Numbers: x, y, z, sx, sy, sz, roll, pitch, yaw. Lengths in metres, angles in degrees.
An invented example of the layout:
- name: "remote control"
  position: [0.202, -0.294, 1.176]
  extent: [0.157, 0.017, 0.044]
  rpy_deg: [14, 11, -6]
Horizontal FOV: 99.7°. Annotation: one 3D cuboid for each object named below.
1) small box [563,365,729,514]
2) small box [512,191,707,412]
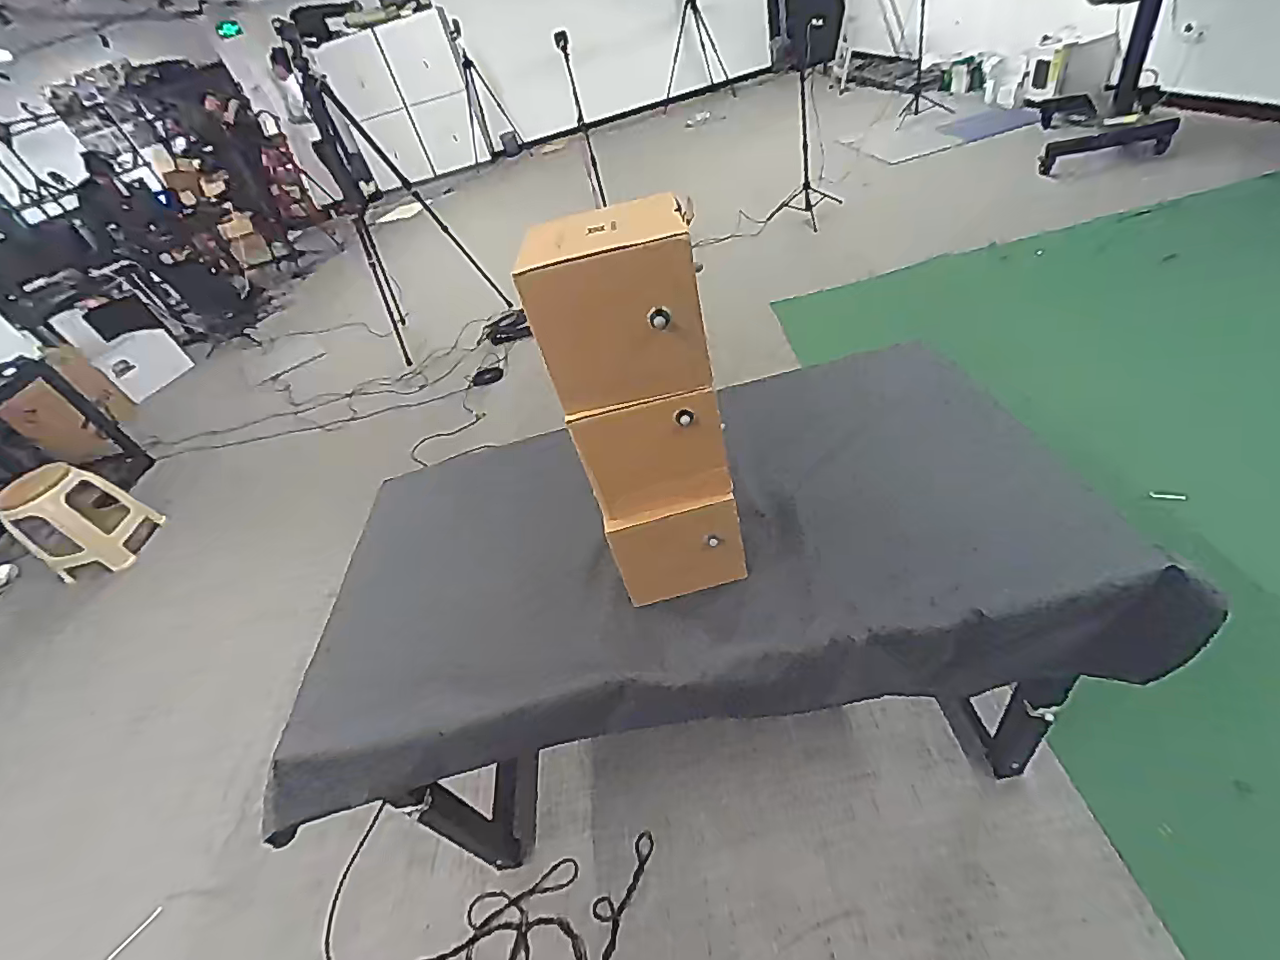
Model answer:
- name: "small box"
  position: [0.009, -0.077, 0.716]
  extent: [0.179, 0.176, 0.168]
  rpy_deg: [-13, 40, 4]
- name: "small box"
  position: [-0.024, -0.201, 0.616]
  extent: [0.179, 0.176, 0.168]
  rpy_deg: [-12, 39, 7]
